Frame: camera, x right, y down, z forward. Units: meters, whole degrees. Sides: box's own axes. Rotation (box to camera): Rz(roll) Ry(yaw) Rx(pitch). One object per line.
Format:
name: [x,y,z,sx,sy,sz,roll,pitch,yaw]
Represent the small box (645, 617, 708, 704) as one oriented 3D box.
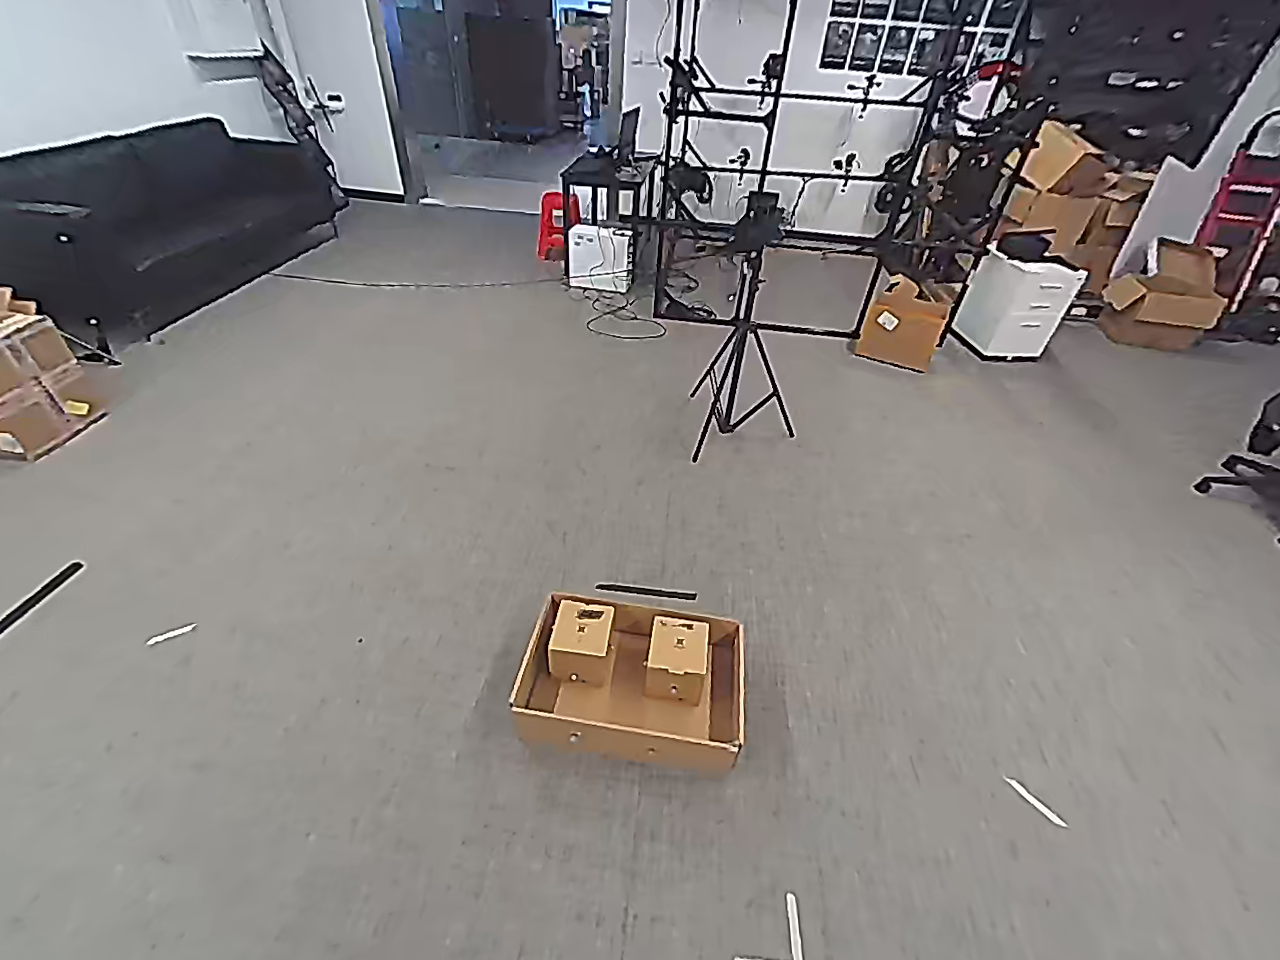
small box: [0.109,0.536,1.600,0.168,0.176,0.179,6,41,7]
